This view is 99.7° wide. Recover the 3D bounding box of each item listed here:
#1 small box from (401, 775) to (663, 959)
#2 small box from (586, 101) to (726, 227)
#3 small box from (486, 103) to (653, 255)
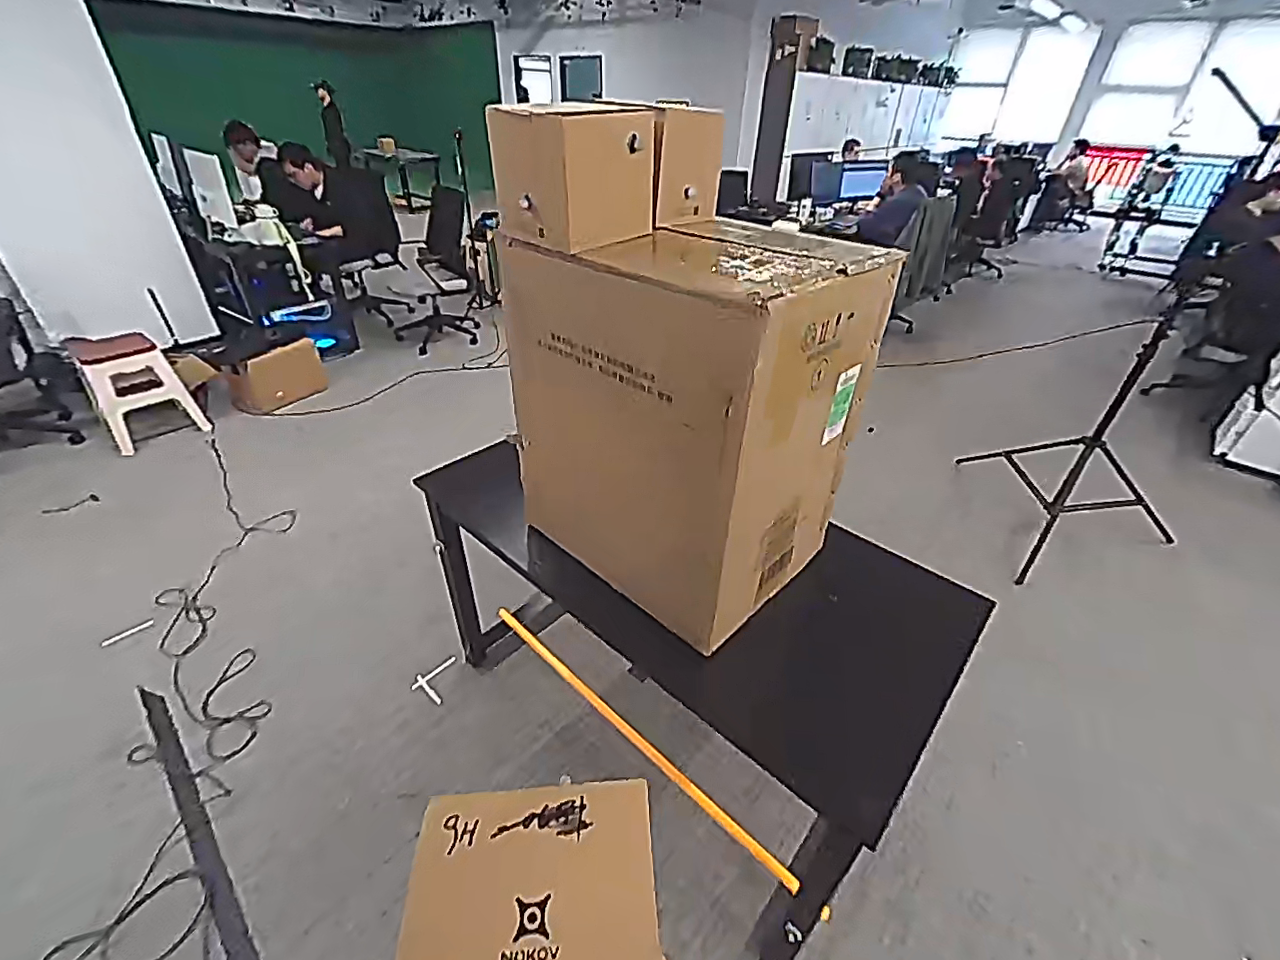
[{"bbox_3d":[-0.067,0.348,0.401,0.168,0.176,0.179,-4,42,-3],"label":"small box"},{"bbox_3d":[0.020,-0.542,0.932,0.179,0.176,0.168,31,43,32],"label":"small box"},{"bbox_3d":[-0.100,-0.450,0.802,0.168,0.176,0.179,29,46,33],"label":"small box"}]
